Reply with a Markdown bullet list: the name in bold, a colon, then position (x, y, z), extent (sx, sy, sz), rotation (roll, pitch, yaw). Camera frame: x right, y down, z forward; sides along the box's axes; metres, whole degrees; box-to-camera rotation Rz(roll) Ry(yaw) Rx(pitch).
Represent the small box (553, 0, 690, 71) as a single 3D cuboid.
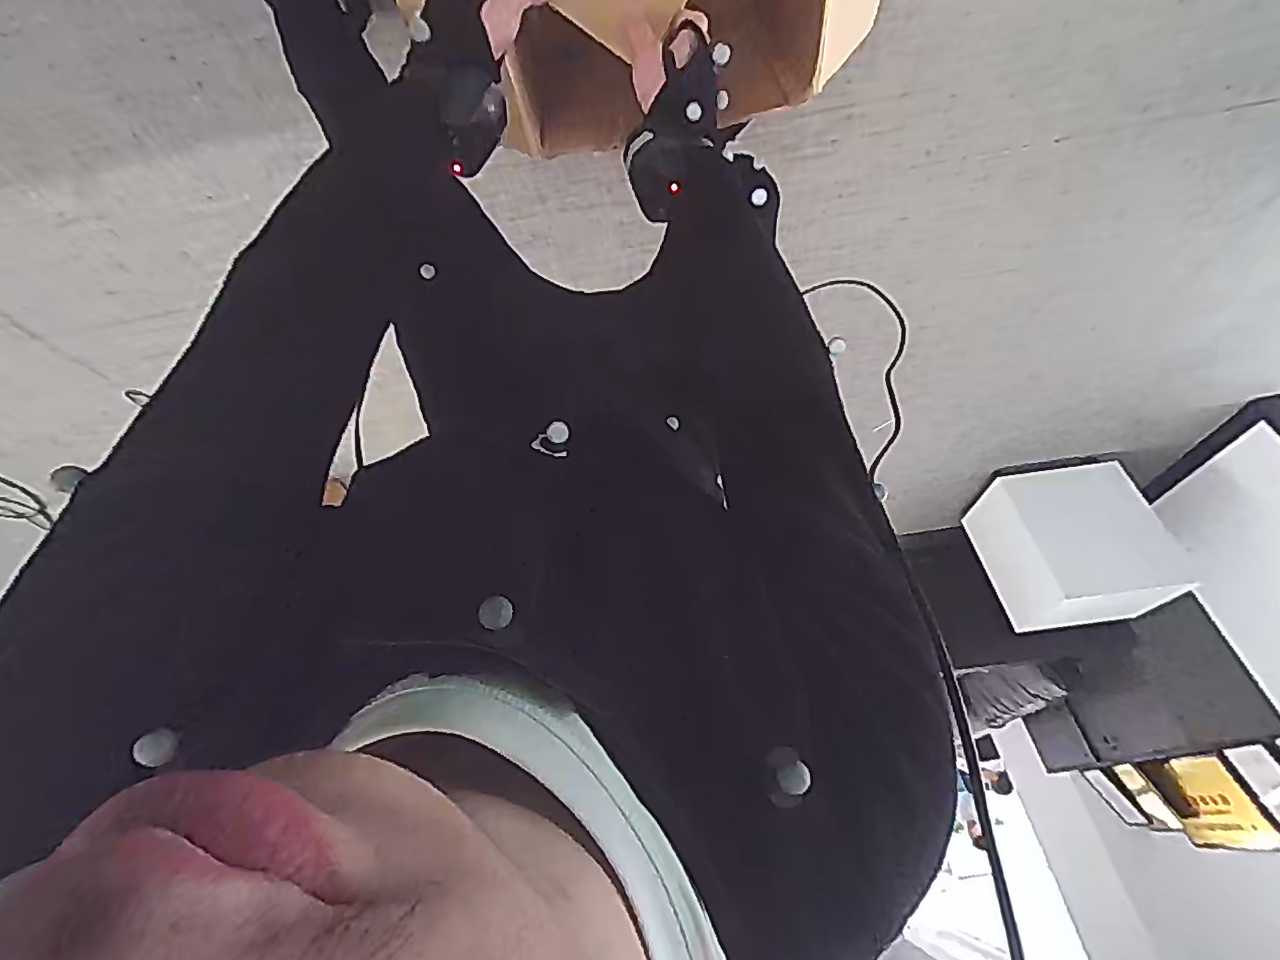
- **small box**: position (-0.027, -0.531, 0.493), extent (0.179, 0.176, 0.168), rotation (18, 132, -28)
